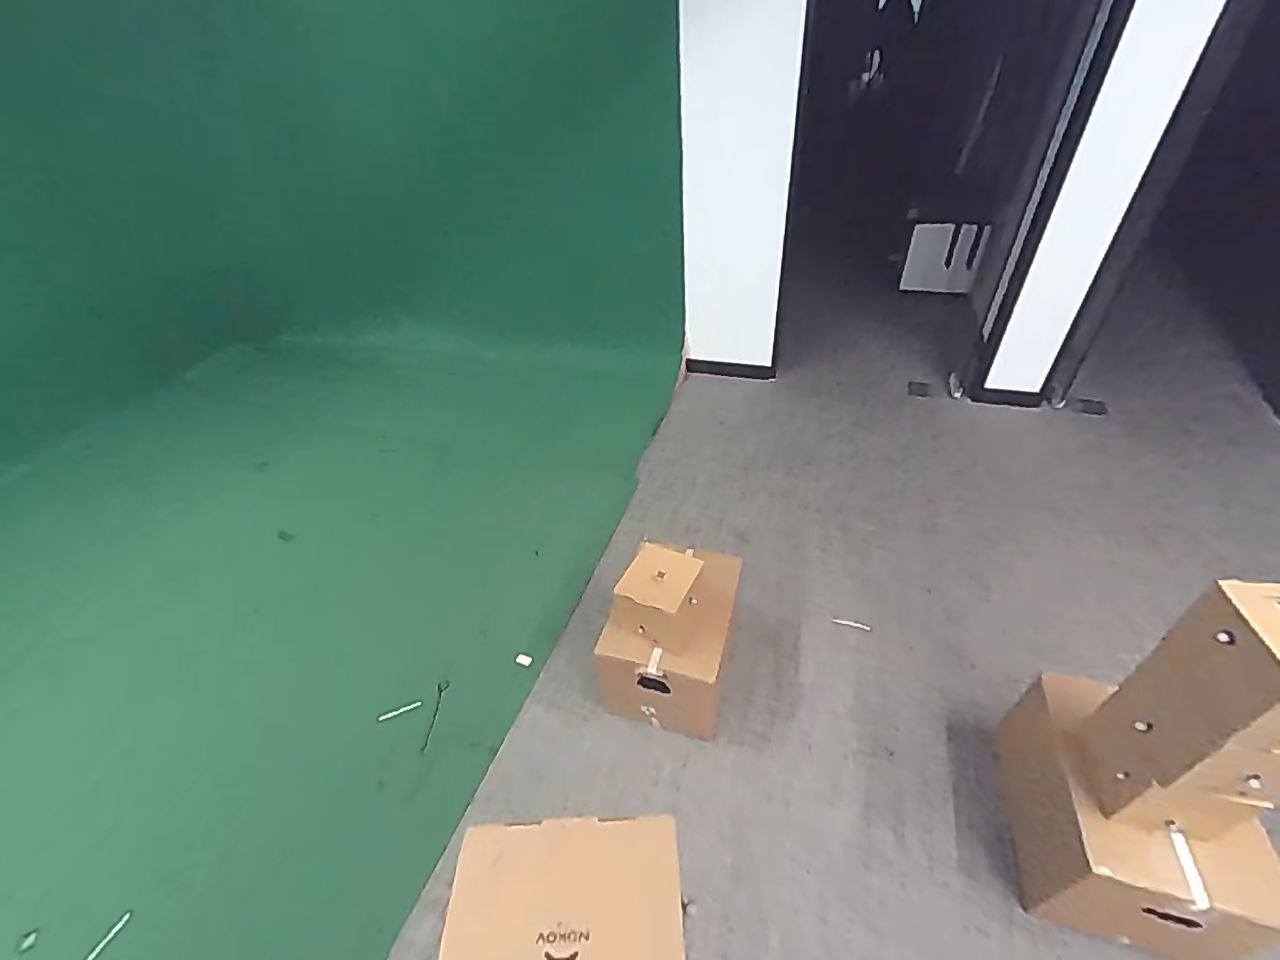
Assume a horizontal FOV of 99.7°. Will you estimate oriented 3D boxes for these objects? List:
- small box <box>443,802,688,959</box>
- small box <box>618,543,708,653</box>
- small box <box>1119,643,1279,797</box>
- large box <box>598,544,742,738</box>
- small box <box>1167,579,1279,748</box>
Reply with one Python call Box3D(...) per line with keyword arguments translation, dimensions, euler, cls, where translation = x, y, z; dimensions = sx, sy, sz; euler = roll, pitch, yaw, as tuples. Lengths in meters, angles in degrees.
Box3D(translation=(-0.046, 0.374, 0.412), dimensions=(0.168, 0.176, 0.179), euler=(-3, 39, 2), cls="small box")
Box3D(translation=(0.062, 0.295, 1.358), dimensions=(0.168, 0.176, 0.179), euler=(15, 45, 25), cls="small box")
Box3D(translation=(0.955, 0.395, 0.890), dimensions=(0.168, 0.176, 0.179), euler=(2, 42, 11), cls="small box")
Box3D(translation=(0.106, 0.449, 1.551), dimensions=(0.320, 0.320, 0.408), euler=(8, 42, 17), cls="large box")
Box3D(translation=(0.939, 0.269, 0.785), dimensions=(0.168, 0.176, 0.179), euler=(1, 41, 11), cls="small box")
